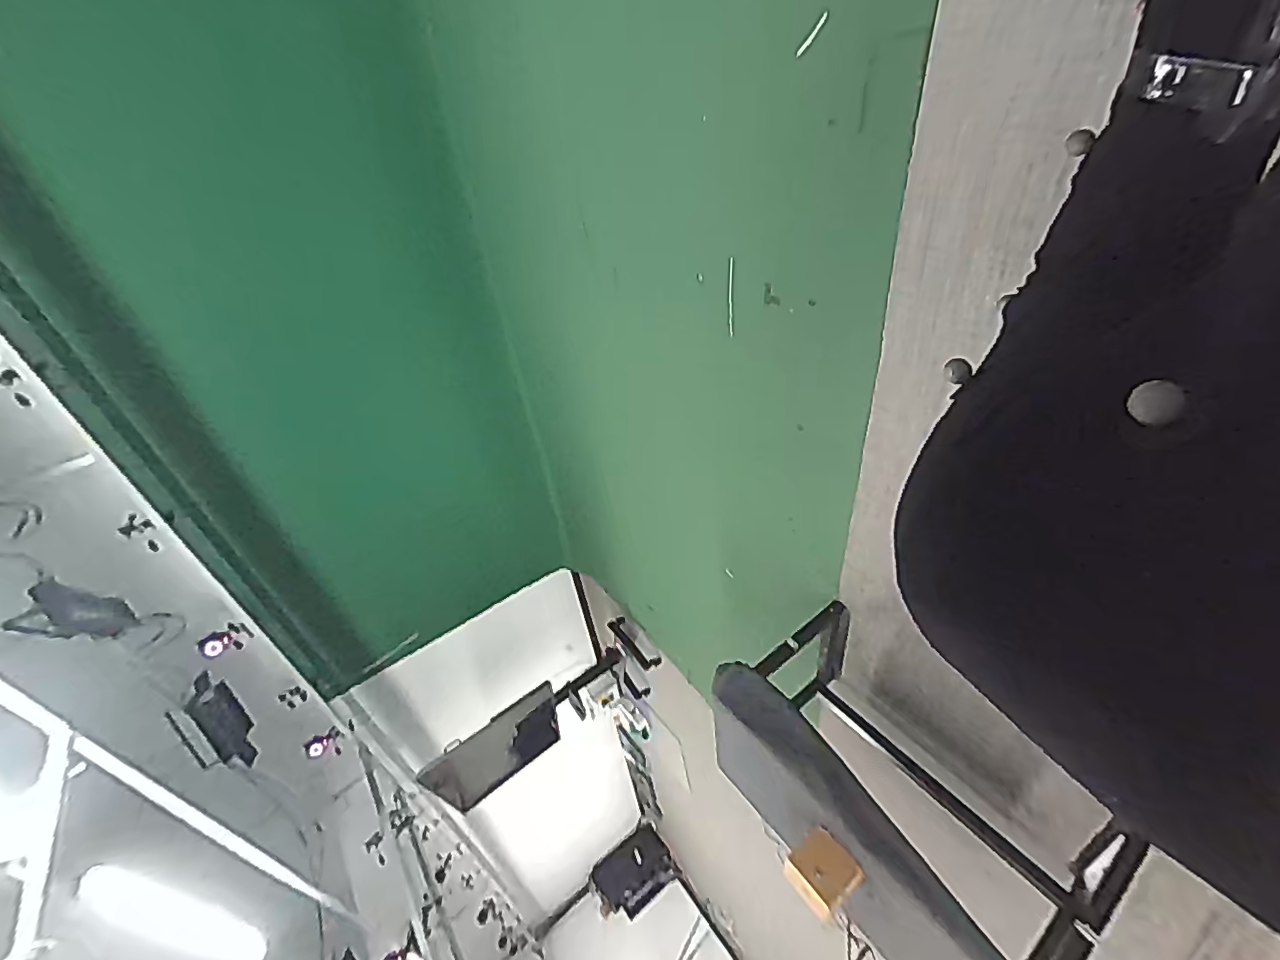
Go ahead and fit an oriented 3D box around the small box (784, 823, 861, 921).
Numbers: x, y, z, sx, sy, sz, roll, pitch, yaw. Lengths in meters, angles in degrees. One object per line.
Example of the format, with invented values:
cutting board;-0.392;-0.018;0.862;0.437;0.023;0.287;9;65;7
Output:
small box;0.600;1.287;1.781;0.179;0.176;0.168;39;147;43
